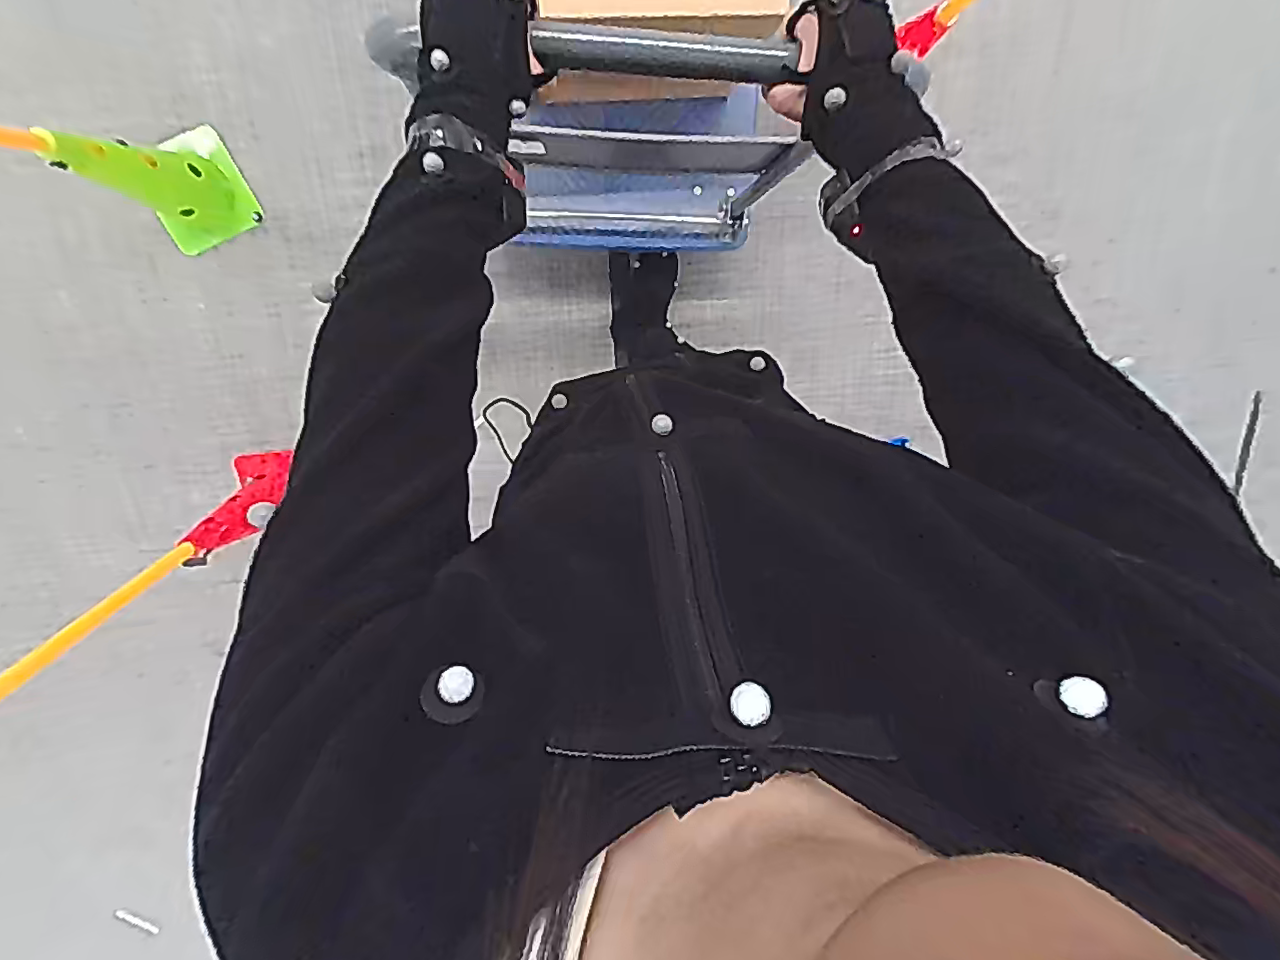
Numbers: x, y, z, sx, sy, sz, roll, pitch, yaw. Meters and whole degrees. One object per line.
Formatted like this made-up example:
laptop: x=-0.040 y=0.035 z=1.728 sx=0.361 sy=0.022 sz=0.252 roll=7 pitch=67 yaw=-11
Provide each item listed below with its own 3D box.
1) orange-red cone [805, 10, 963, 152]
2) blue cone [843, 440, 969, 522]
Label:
orange-red cone: x=0.498 y=-0.810 z=1.060 sx=0.199 sy=0.360 sz=0.198 roll=1 pitch=107 yaw=-8
blue cone: x=0.679 y=0.035 z=1.349 sx=0.193 sy=0.380 sz=0.192 roll=-9 pitch=106 yaw=-4
